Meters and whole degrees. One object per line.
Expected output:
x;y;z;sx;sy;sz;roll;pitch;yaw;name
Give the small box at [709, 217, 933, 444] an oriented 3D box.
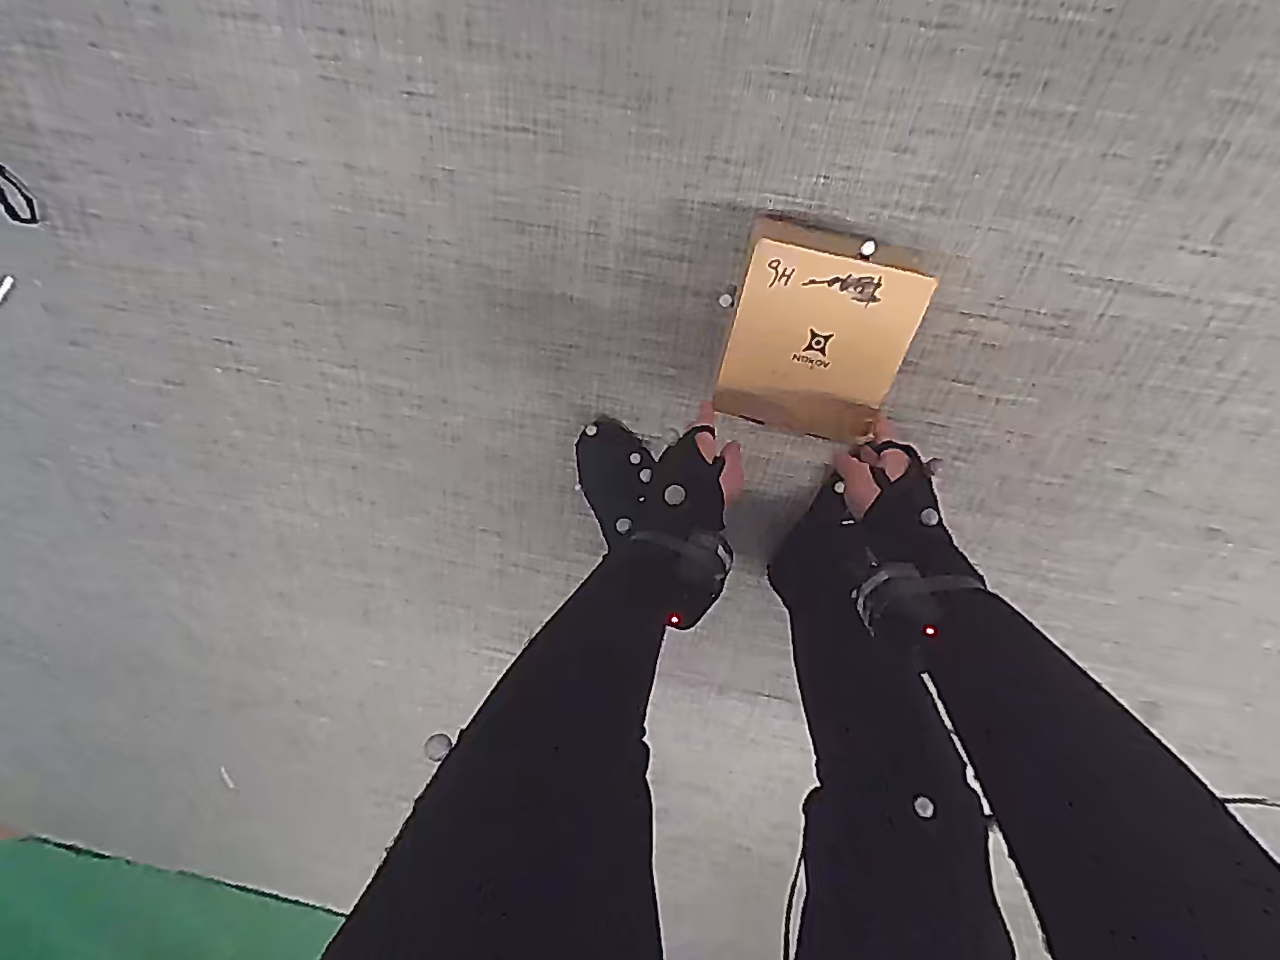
0.183;-0.170;0.595;0.168;0.176;0.179;15;124;2;small box
